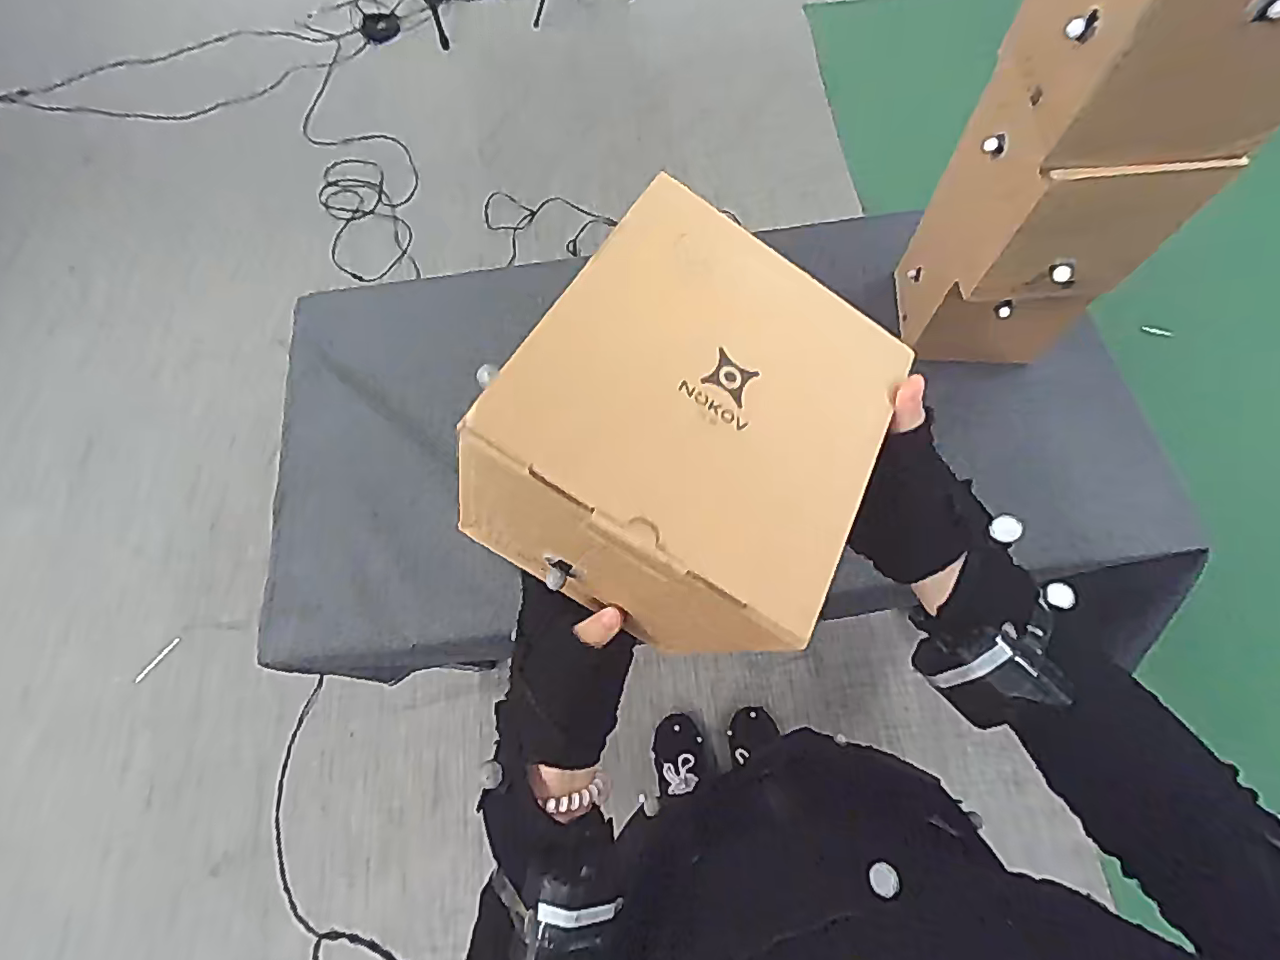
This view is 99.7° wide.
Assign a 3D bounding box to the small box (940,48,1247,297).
[{"bbox_3d":[0.450,-0.322,0.577,0.168,0.176,0.179,-2,70,5],"label":"small box"}]

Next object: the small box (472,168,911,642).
[{"bbox_3d":[0.015,-0.024,0.316,0.168,0.176,0.179,32,65,-5],"label":"small box"}]

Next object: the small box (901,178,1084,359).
[{"bbox_3d":[0.471,-0.280,0.735,0.179,0.176,0.168,4,70,6],"label":"small box"}]

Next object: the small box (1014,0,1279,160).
[{"bbox_3d":[0.433,-0.383,0.427,0.179,0.176,0.168,0,70,5],"label":"small box"}]
